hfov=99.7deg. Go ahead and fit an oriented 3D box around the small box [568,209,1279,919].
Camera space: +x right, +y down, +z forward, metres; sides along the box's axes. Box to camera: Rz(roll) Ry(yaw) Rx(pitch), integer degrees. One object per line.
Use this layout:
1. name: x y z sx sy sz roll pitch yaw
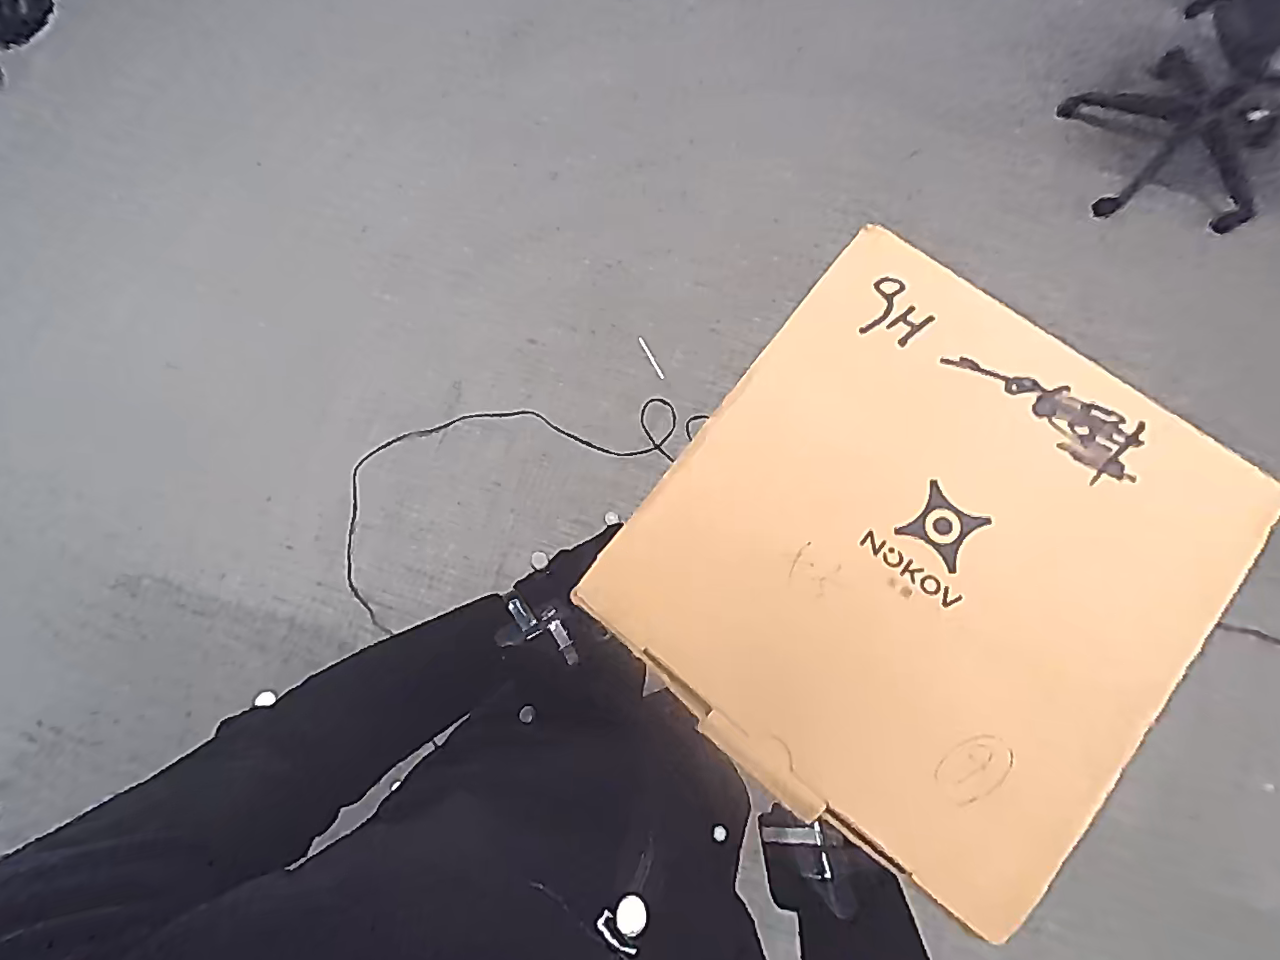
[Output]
1. small box: 0.096 0.028 0.256 0.168 0.176 0.179 38 86 8
